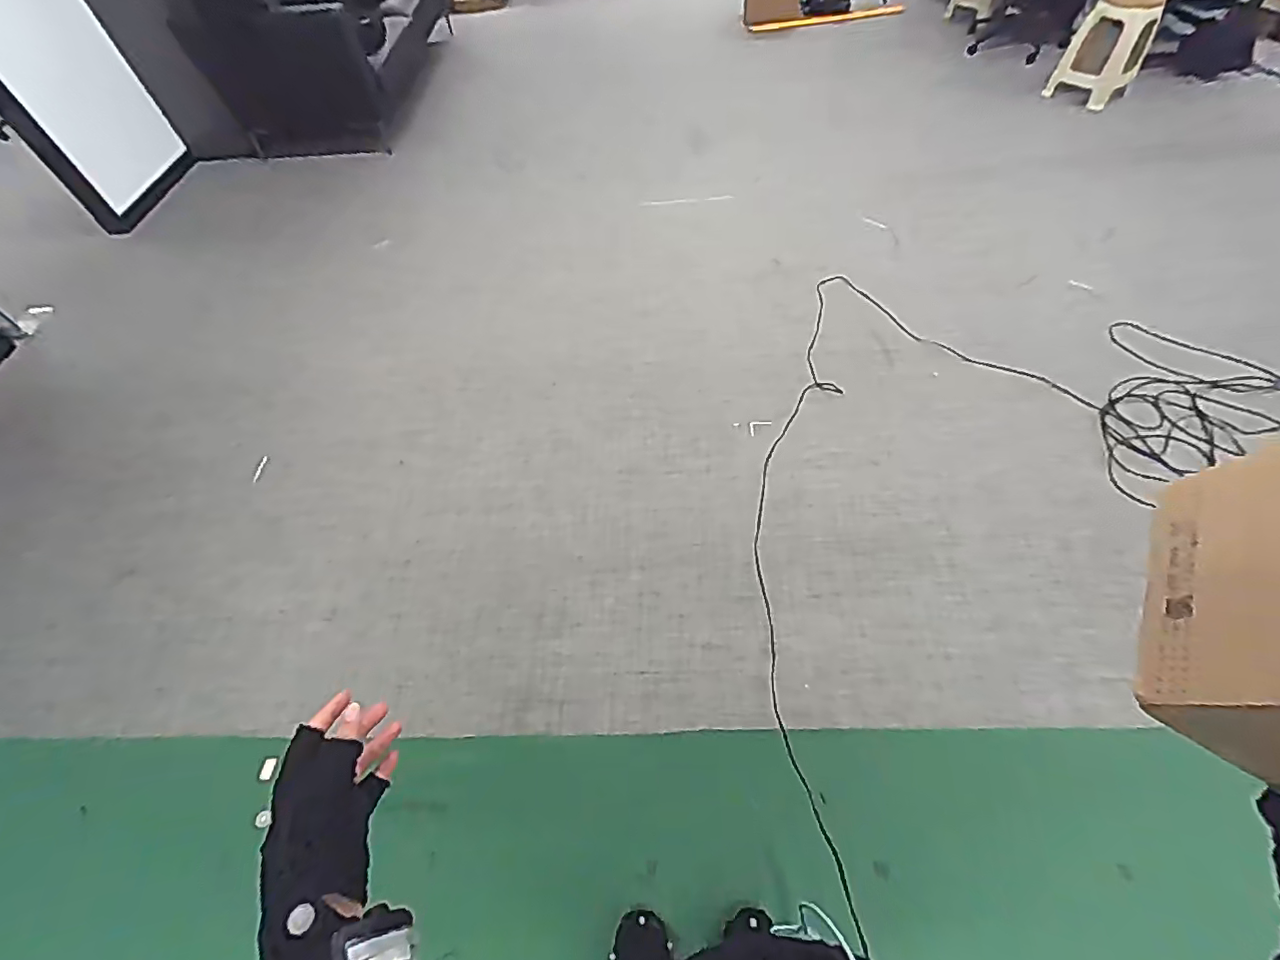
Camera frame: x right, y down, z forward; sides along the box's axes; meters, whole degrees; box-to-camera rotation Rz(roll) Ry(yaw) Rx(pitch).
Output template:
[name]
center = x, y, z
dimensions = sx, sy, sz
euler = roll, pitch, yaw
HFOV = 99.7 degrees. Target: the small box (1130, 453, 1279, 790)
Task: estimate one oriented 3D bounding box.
[small box]
center = 0.402, 0.078, 0.260
dimensions = 0.179, 0.176, 0.168
euler = 31, 65, 2
